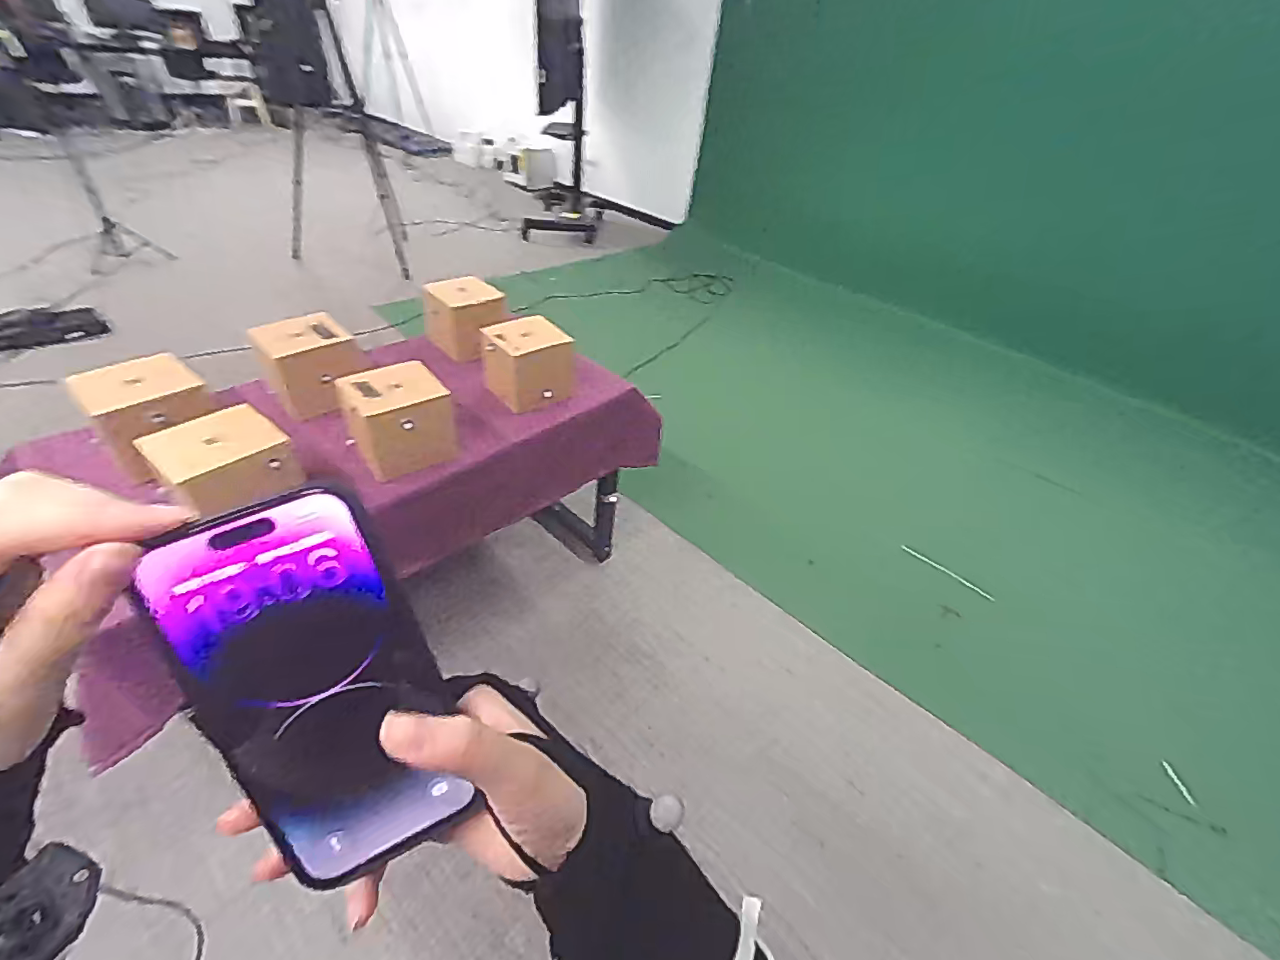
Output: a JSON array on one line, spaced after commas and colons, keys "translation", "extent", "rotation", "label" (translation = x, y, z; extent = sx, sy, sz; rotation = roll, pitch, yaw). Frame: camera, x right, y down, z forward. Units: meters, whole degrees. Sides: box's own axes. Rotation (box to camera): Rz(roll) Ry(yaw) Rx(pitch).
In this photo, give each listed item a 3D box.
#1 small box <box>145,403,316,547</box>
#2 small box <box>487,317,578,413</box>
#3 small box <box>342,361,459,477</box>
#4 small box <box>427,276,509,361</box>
[{"translation": [-0.736, -0.009, 0.989], "extent": [0.168, 0.176, 0.179], "rotation": [30, 44, 24], "label": "small box"}, {"translation": [-0.281, -0.300, 1.408], "extent": [0.179, 0.176, 0.168], "rotation": [-24, 49, -33], "label": "small box"}, {"translation": [-0.510, -0.131, 1.170], "extent": [0.179, 0.176, 0.168], "rotation": [-24, 50, -34], "label": "small box"}, {"translation": [-0.494, -0.467, 1.565], "extent": [0.168, 0.176, 0.179], "rotation": [-28, 53, -34], "label": "small box"}]
